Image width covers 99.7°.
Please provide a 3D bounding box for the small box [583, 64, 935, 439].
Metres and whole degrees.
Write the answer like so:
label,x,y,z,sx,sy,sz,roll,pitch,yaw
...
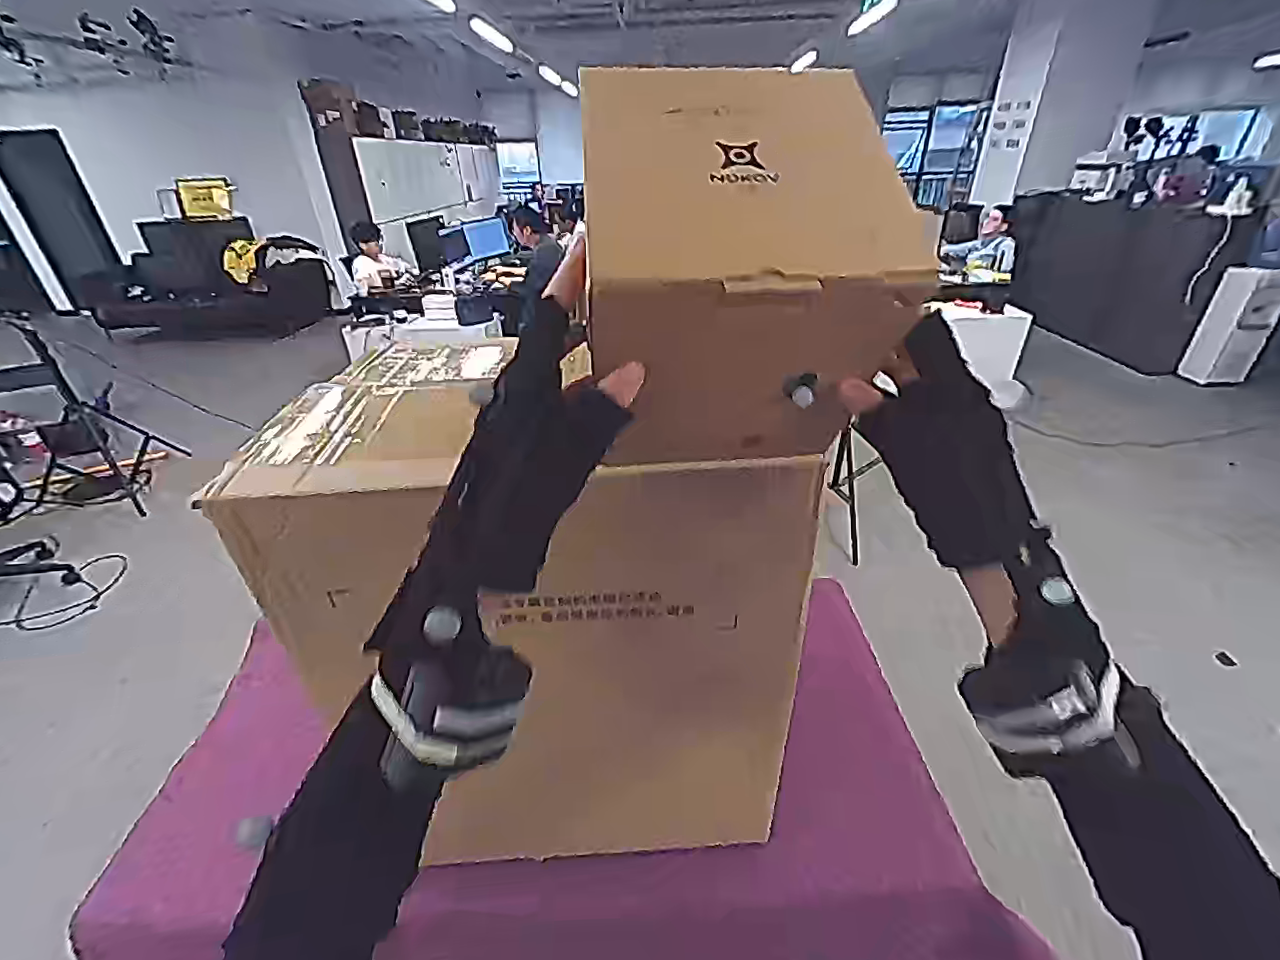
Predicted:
label,x,y,z,sx,sy,sz,roll,pitch,yaw
small box,0.050,-0.138,0.358,0.168,0.176,0.179,-3,60,-5
